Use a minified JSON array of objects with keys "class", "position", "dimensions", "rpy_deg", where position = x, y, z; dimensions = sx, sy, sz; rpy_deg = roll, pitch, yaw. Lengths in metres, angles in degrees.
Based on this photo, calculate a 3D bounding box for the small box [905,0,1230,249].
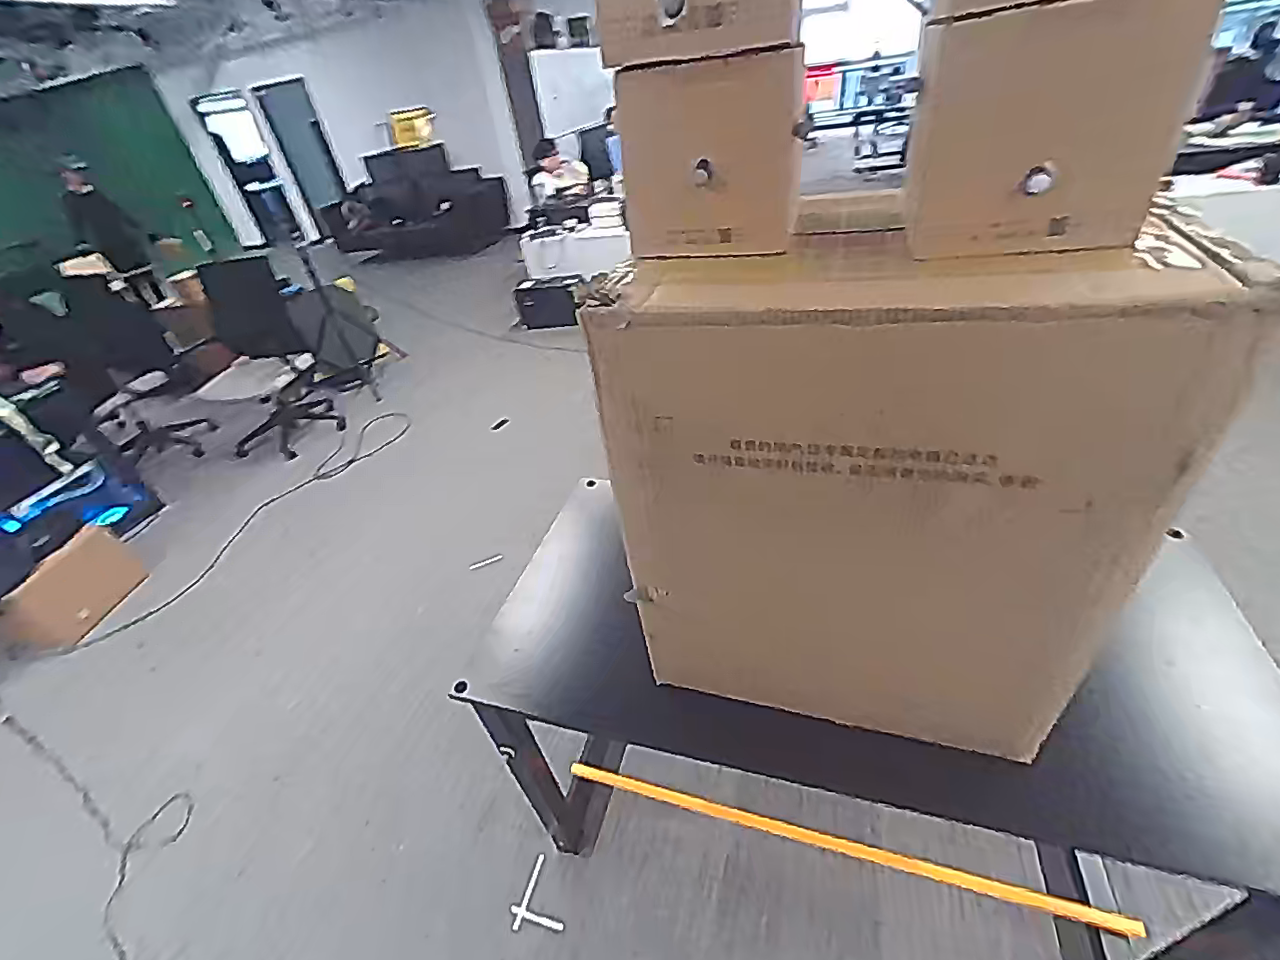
[{"class":"small box","position":[0.333,-0.312,0.468],"dimensions":[0.168,0.176,0.179],"rpy_deg":[3,39,20]}]

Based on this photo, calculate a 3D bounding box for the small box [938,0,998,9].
[{"class":"small box","position":[0.311,-0.438,0.365],"dimensions":[0.179,0.176,0.168],"rpy_deg":[4,39,19]}]

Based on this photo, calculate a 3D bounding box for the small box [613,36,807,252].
[{"class":"small box","position":[0.085,-0.352,0.579],"dimensions":[0.168,0.176,0.179],"rpy_deg":[5,40,17]}]

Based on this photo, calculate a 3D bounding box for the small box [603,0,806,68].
[{"class":"small box","position":[0.060,-0.473,0.471],"dimensions":[0.168,0.176,0.179],"rpy_deg":[4,39,17]}]
